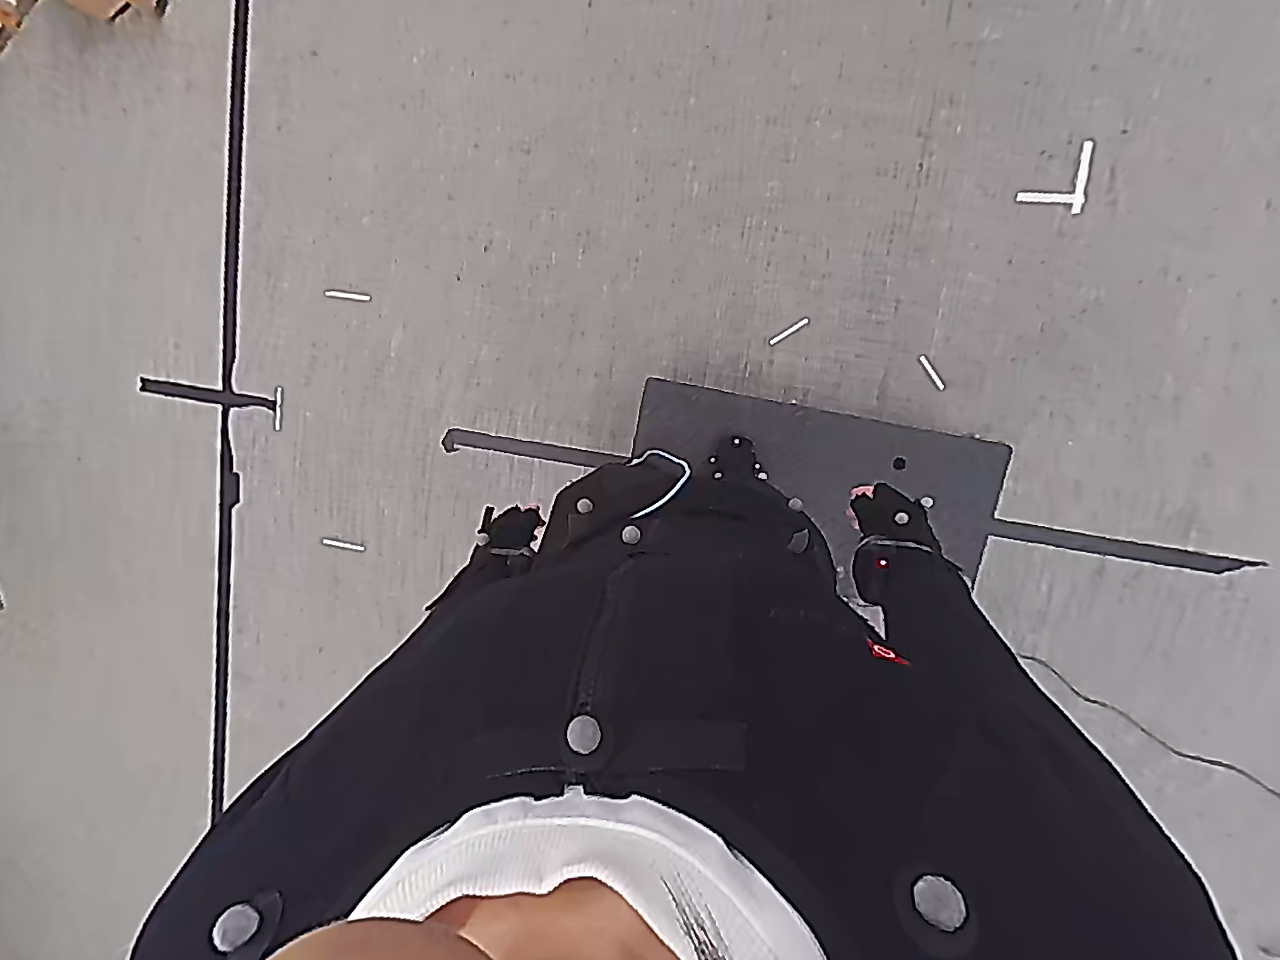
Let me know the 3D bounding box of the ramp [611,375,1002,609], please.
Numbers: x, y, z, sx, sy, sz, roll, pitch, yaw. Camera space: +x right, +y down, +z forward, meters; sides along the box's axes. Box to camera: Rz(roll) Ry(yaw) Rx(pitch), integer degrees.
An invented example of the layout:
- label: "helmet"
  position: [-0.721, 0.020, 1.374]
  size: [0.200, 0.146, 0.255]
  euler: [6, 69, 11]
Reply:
- label: "ramp"
  position: [0.450, 0.042, 1.461]
  size: [0.991, 0.206, 0.509]
  euler: [10, 97, 7]
